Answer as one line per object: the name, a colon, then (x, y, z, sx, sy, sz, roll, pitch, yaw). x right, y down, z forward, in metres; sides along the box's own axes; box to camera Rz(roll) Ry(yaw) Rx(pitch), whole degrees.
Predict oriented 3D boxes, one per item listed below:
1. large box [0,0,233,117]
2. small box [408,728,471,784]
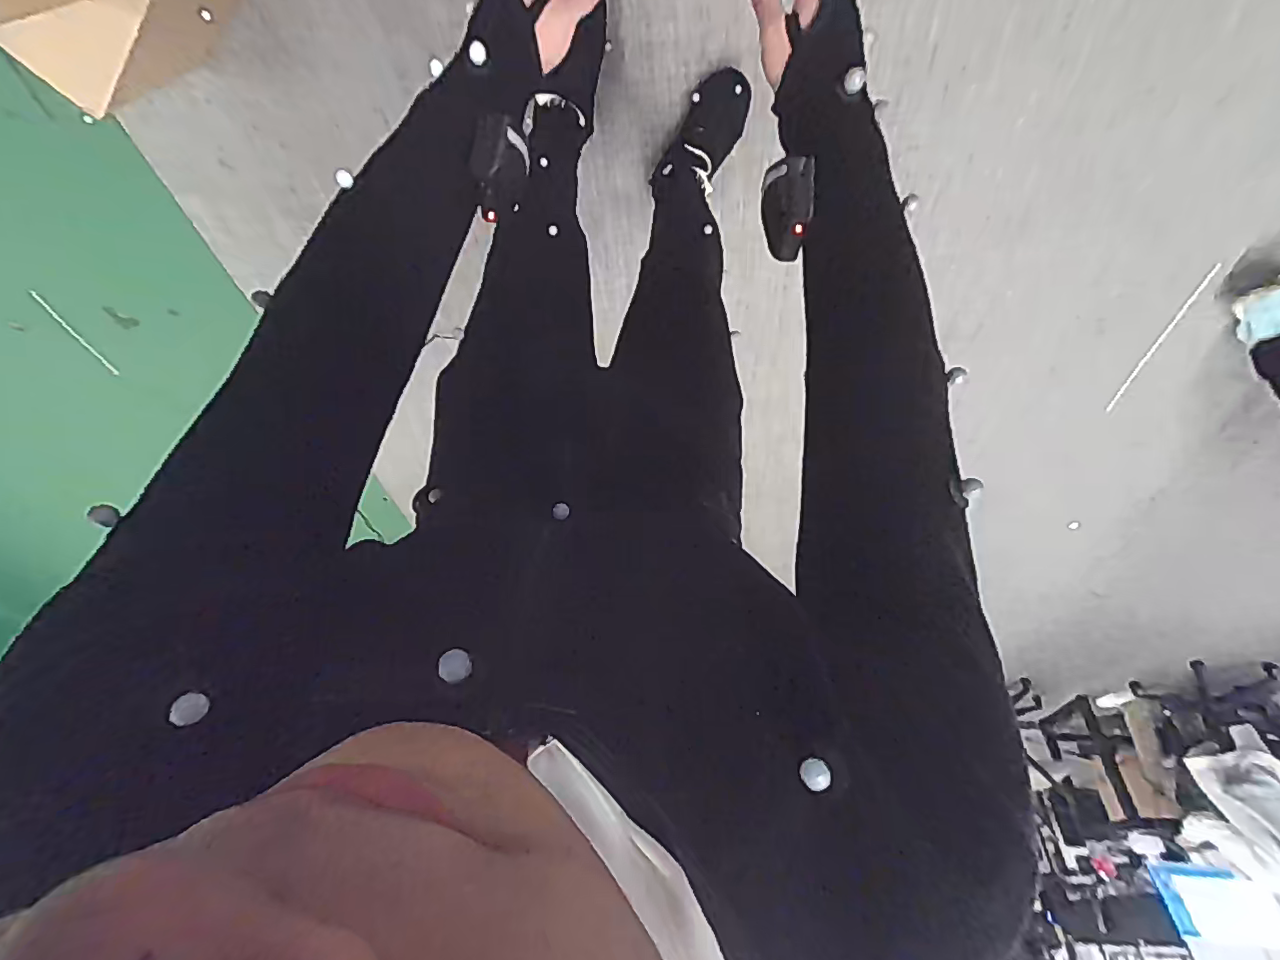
large box: (-0.845, -0.885, 0.825, 0.408, 0.320, 0.320, -23, 133, 32)
small box: (-0.794, 1.102, 2.157, 0.168, 0.176, 0.179, 0, 140, 4)
